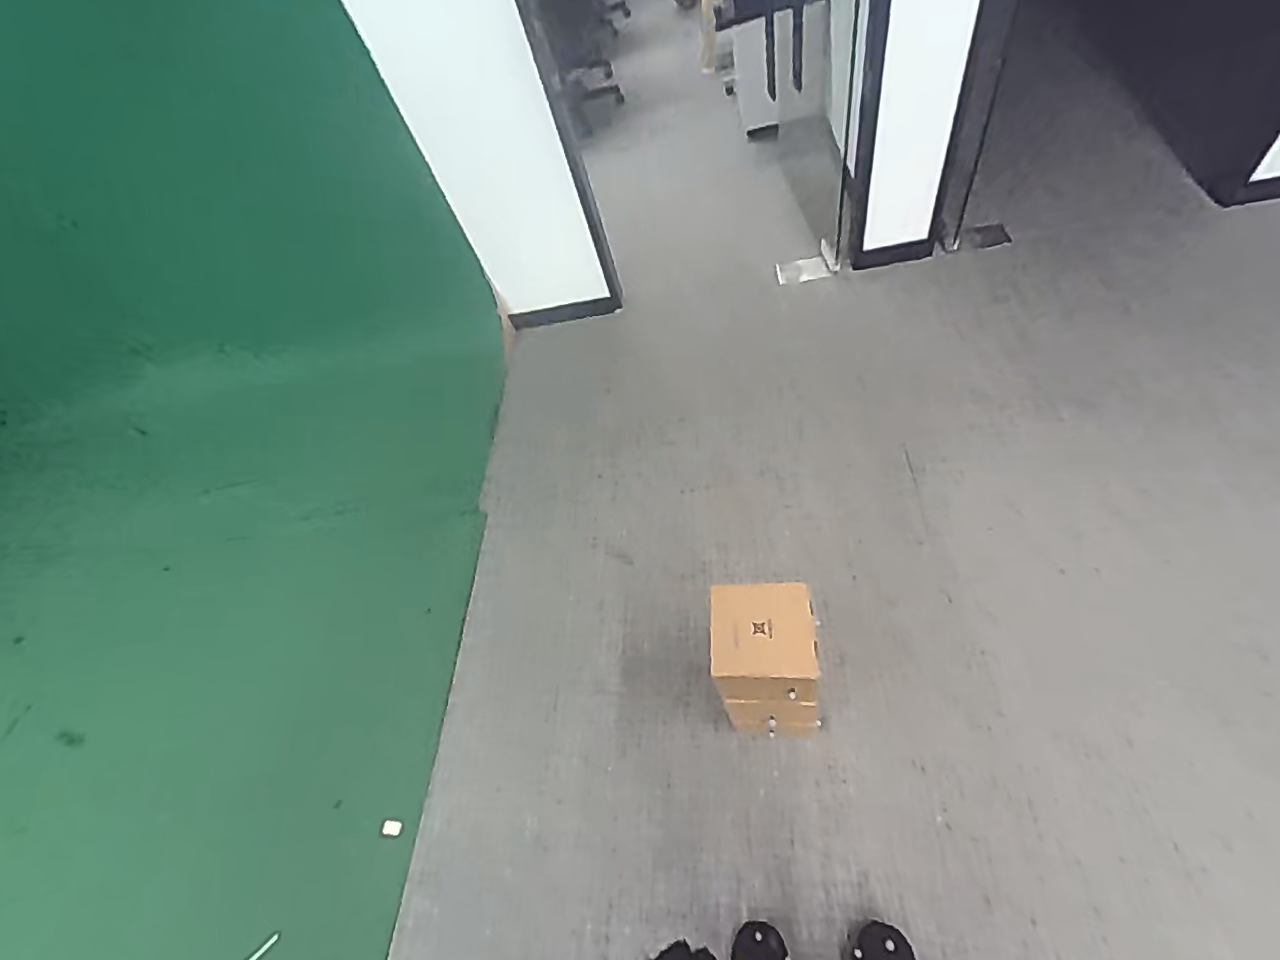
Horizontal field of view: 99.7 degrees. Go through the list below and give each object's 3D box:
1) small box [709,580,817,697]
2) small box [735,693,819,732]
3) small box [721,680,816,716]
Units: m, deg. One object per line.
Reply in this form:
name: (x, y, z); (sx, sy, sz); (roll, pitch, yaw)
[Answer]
small box: (0.226, 0.294, 0.995); (0.179, 0.176, 0.168); (-5, 55, 14)
small box: (0.308, 0.480, 1.250); (0.179, 0.176, 0.168); (-5, 56, 12)
small box: (0.266, 0.386, 1.123); (0.179, 0.176, 0.168); (-2, 57, 14)
